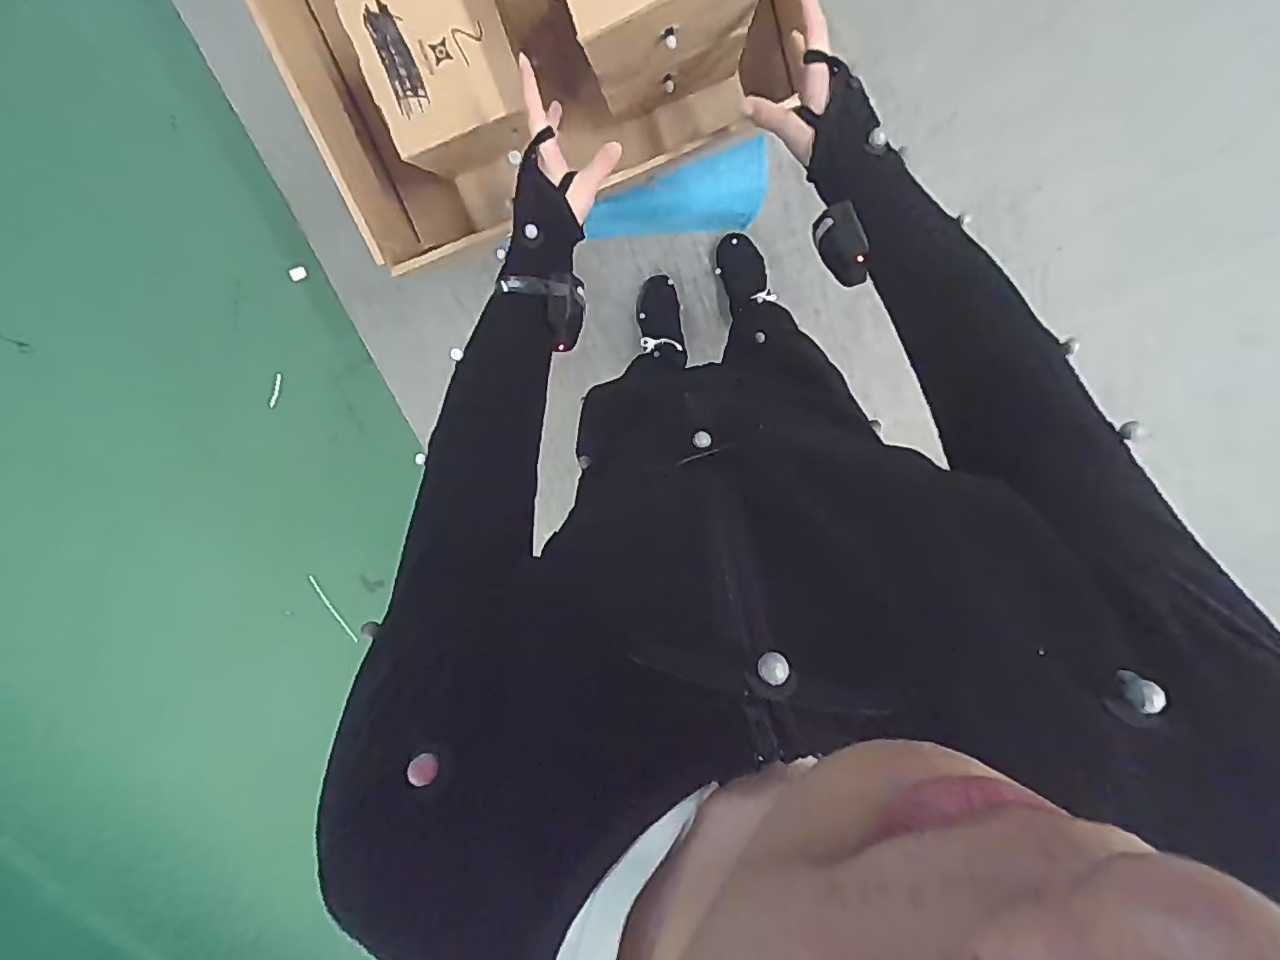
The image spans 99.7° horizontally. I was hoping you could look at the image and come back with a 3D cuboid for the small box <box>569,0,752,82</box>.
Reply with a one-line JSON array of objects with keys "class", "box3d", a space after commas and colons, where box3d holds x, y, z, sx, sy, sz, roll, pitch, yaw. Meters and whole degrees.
[{"class": "small box", "box3d": [0.009, -0.508, 0.492, 0.179, 0.176, 0.168, -17, 110, 12]}]
